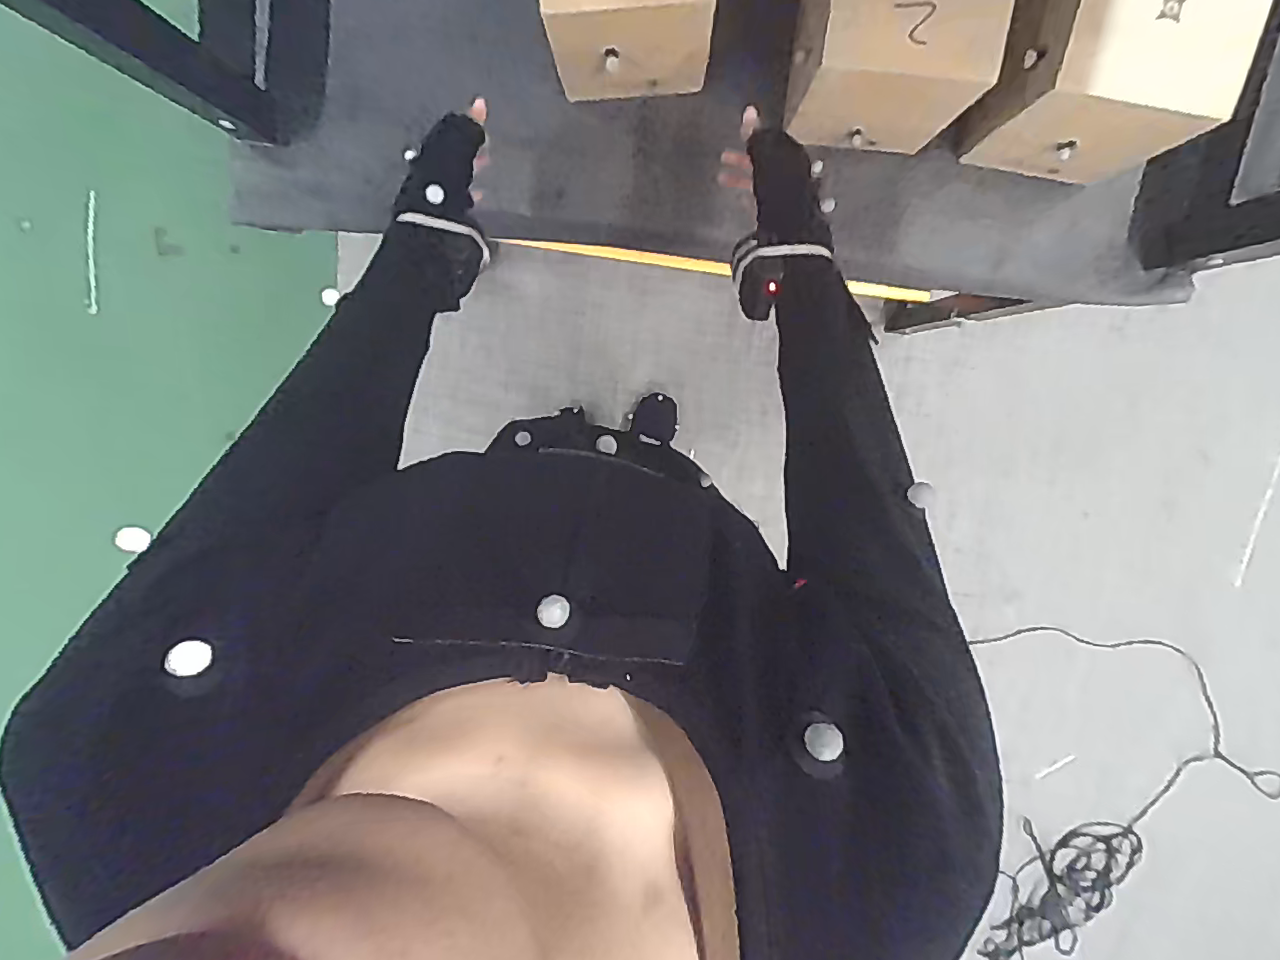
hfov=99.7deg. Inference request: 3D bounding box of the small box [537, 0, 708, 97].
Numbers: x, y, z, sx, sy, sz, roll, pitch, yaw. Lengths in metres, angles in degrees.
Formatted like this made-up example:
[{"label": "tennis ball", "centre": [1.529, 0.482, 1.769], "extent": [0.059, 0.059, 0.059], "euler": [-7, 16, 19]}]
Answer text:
[{"label": "small box", "centre": [-0.016, -0.534, 0.568], "extent": [0.168, 0.176, 0.179], "euler": [-3, 100, 2]}]
